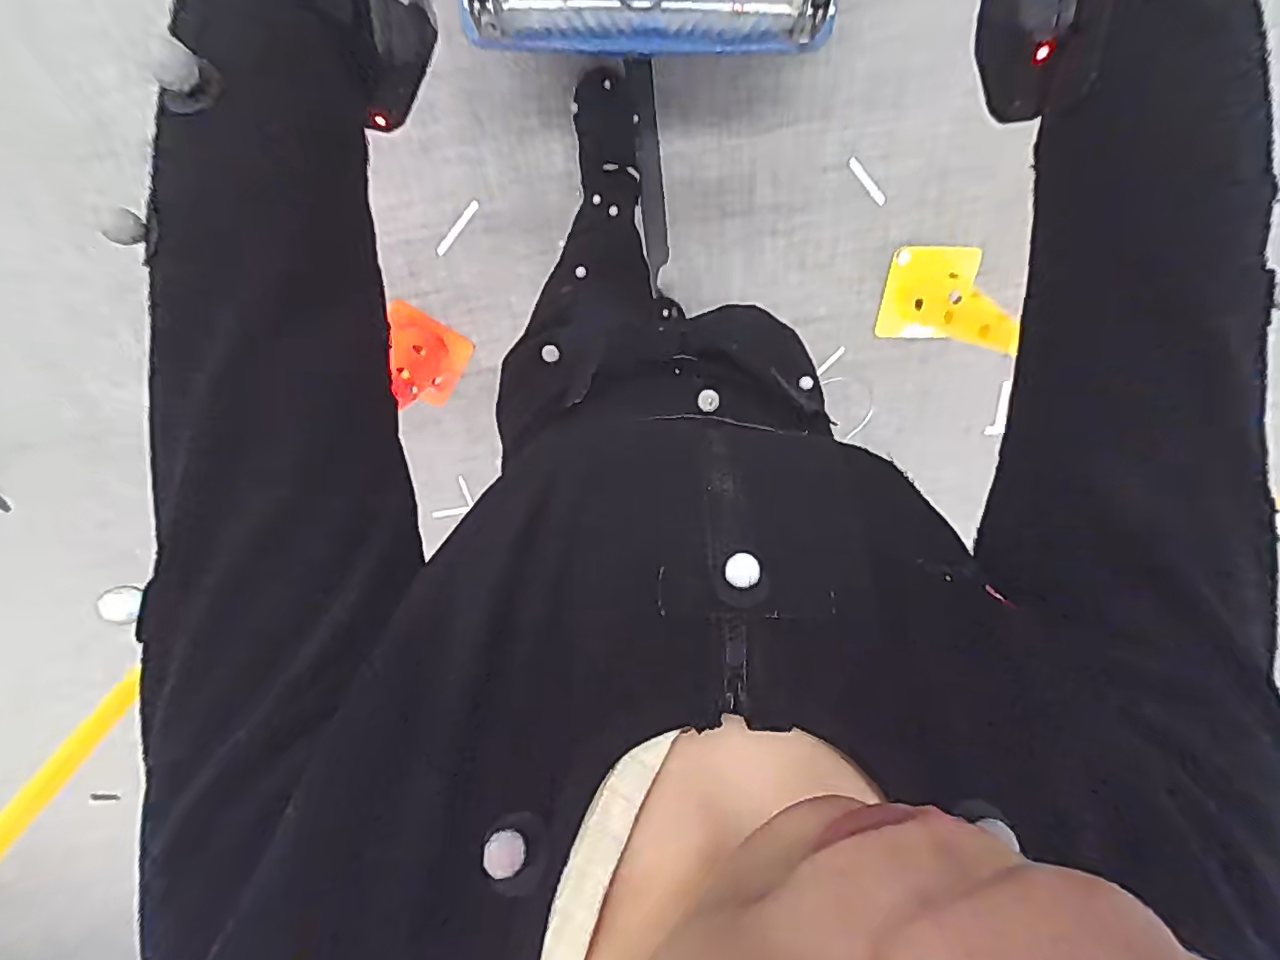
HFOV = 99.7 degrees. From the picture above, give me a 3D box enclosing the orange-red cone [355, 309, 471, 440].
[{"bbox_3d":[-0.513,-0.187,1.132,0.198,0.360,0.199,31,115,-22],"label":"orange-red cone"}]
